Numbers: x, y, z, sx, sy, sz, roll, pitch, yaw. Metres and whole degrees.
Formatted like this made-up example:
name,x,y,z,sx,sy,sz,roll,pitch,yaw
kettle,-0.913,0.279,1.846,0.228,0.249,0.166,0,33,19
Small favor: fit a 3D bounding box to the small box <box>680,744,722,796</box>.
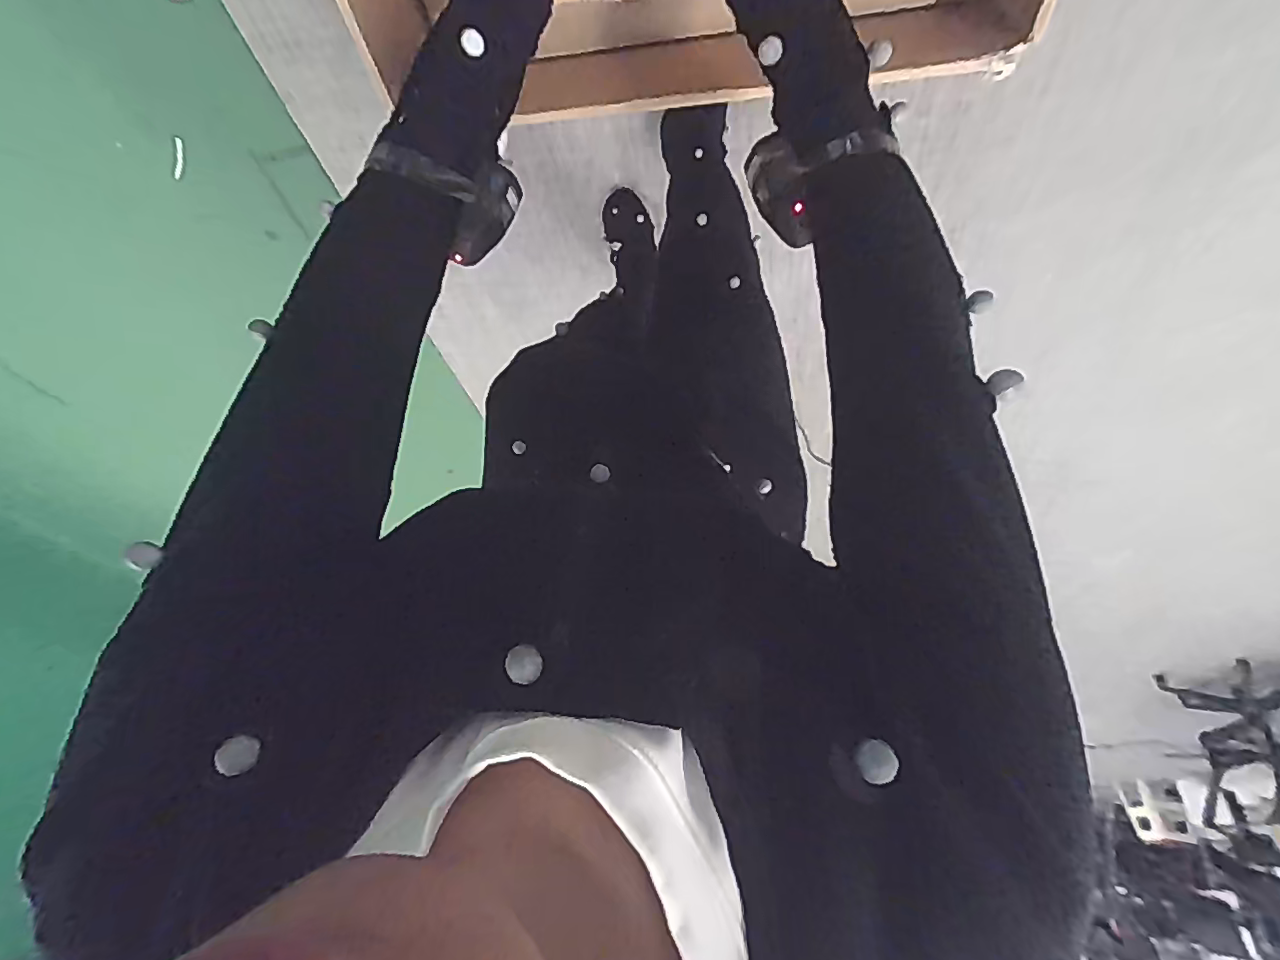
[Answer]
name,x,y,z,sx,sy,sz,roll,pitch,yaw
small box,0.268,1.258,2.346,0.168,0.176,0.179,0,144,14
